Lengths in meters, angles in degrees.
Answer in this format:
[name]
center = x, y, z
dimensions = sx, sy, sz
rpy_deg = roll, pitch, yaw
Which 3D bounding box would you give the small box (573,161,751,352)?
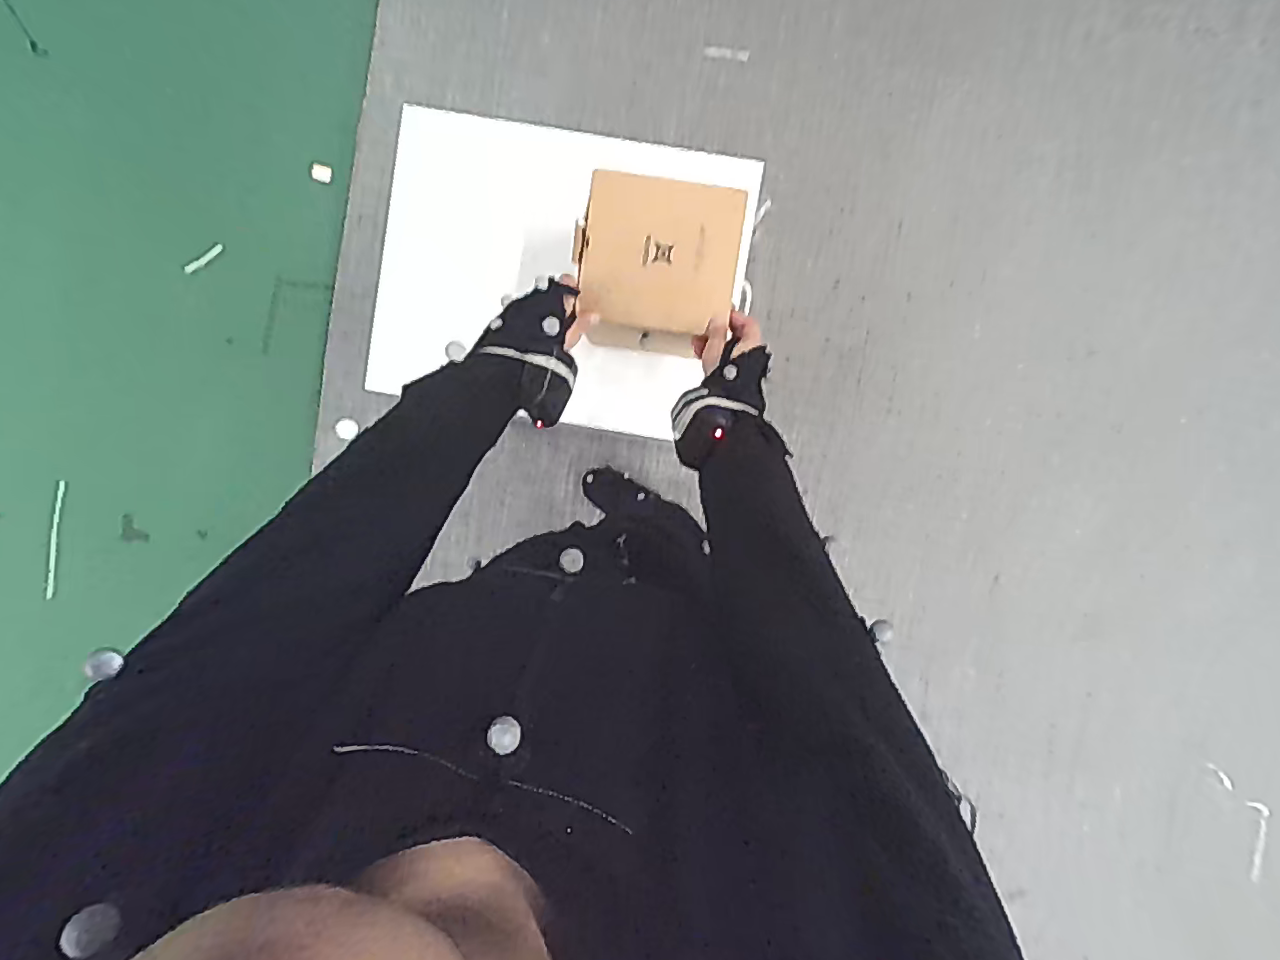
[small box]
center = 0.025, -0.260, 0.669
dimensions = 0.179, 0.176, 0.168
rpy_deg = 8, 95, 1
